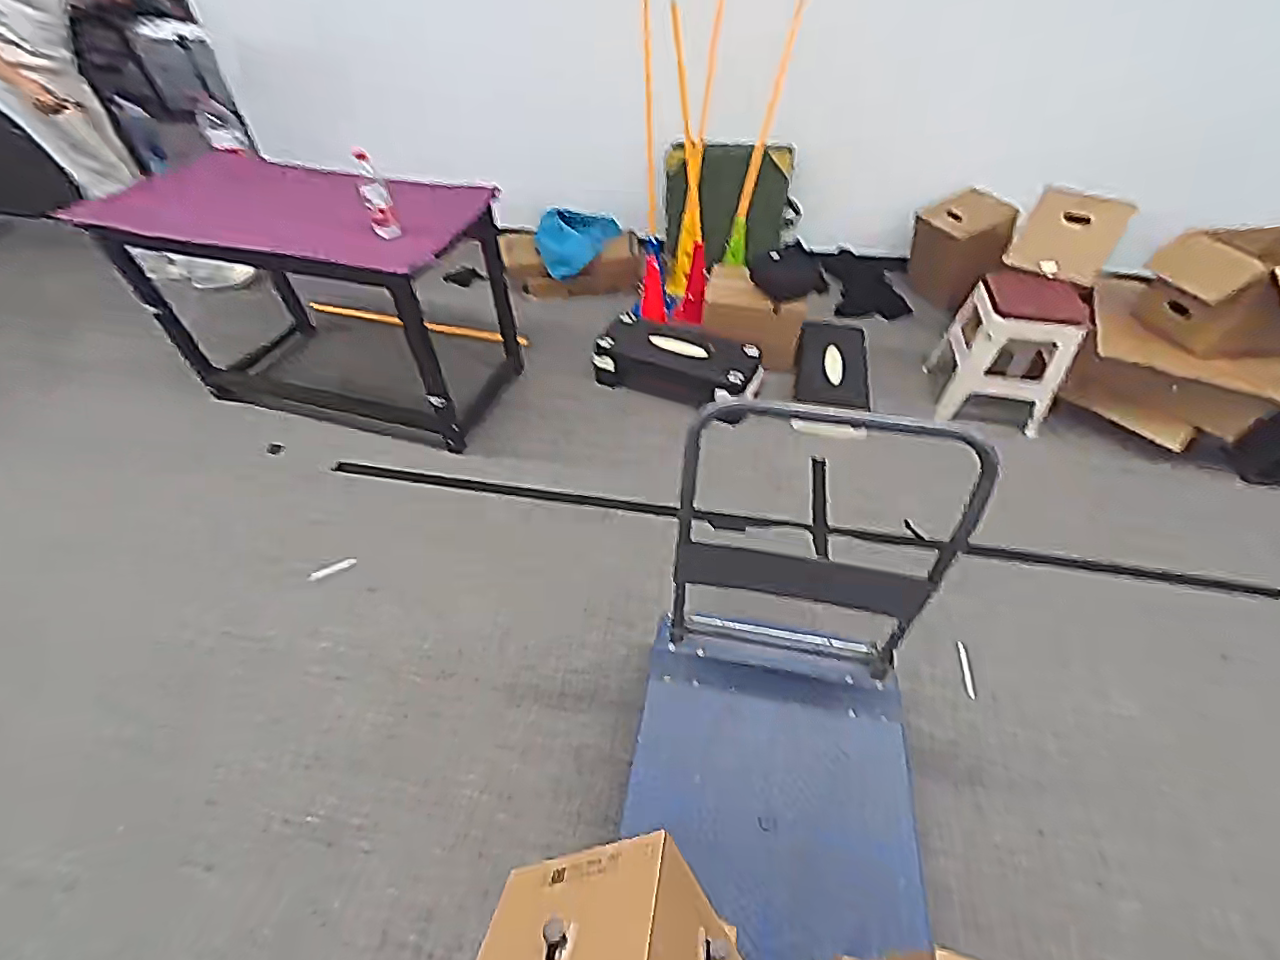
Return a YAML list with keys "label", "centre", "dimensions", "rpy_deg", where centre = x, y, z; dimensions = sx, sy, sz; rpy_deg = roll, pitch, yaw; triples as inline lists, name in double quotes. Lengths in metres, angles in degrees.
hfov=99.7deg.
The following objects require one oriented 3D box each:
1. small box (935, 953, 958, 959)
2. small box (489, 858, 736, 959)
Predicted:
- label: "small box"
  centre: [0.362, 0.638, 0.563]
  dimensions: [0.168, 0.176, 0.179]
  rpy_deg: [14, 48, 12]
- label: "small box"
  centre: [-0.022, 0.431, 0.416]
  dimensions: [0.168, 0.179, 0.176]
  rpy_deg: [-25, 10, 16]
